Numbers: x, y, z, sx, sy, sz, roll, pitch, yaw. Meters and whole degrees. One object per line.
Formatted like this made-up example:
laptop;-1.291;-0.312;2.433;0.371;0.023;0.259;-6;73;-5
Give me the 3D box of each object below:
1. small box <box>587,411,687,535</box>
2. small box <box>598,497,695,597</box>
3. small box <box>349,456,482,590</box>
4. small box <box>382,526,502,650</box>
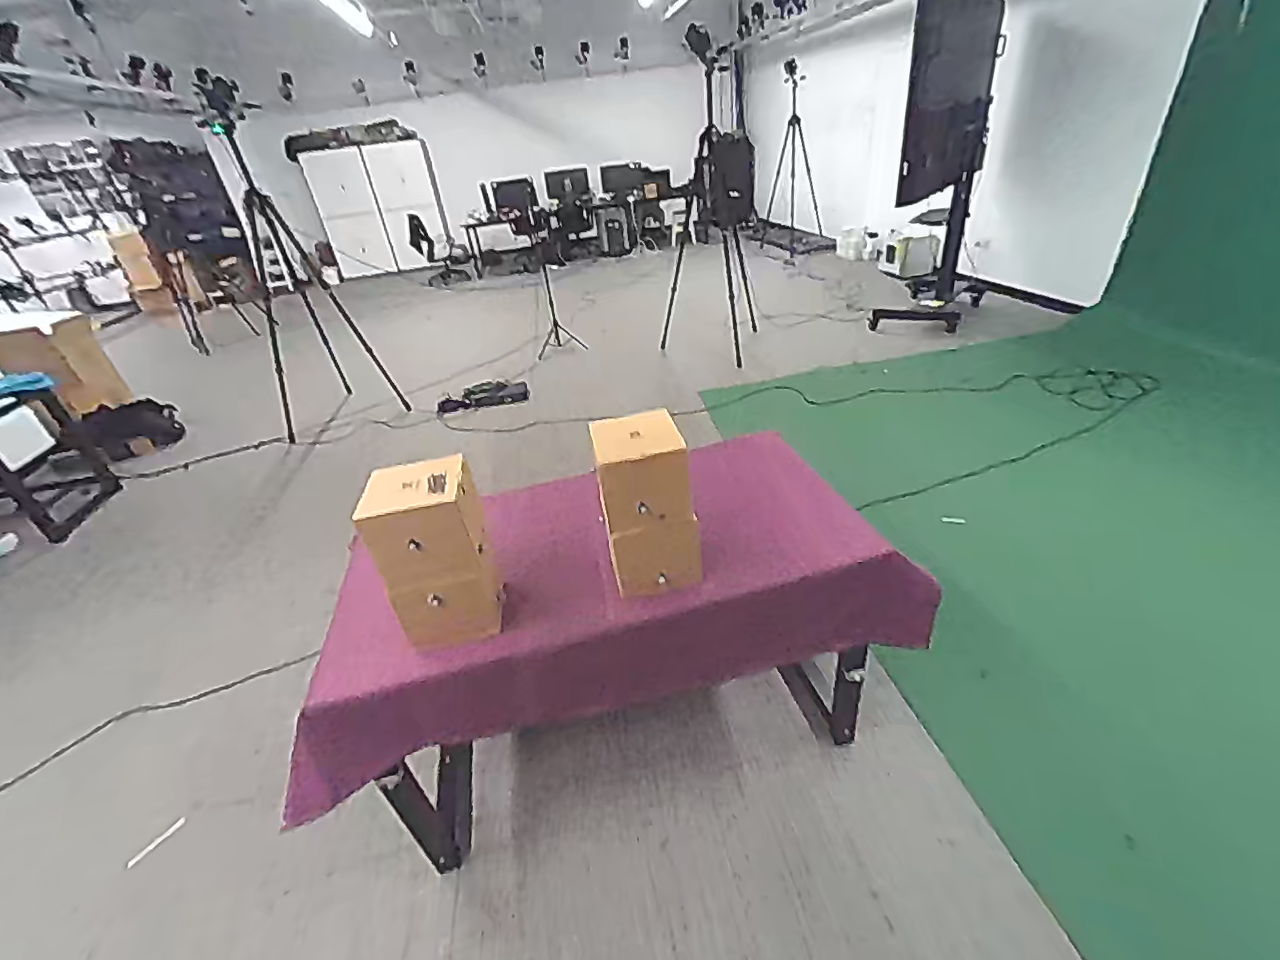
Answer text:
small box;-0.008;-0.017;1.082;0.168;0.176;0.179;-12;34;-6
small box;0.015;0.125;1.160;0.179;0.176;0.168;-11;32;-7
small box;-0.405;0.080;1.014;0.179;0.176;0.168;-12;33;-6
small box;-0.391;0.220;1.099;0.179;0.176;0.168;-11;33;-6
